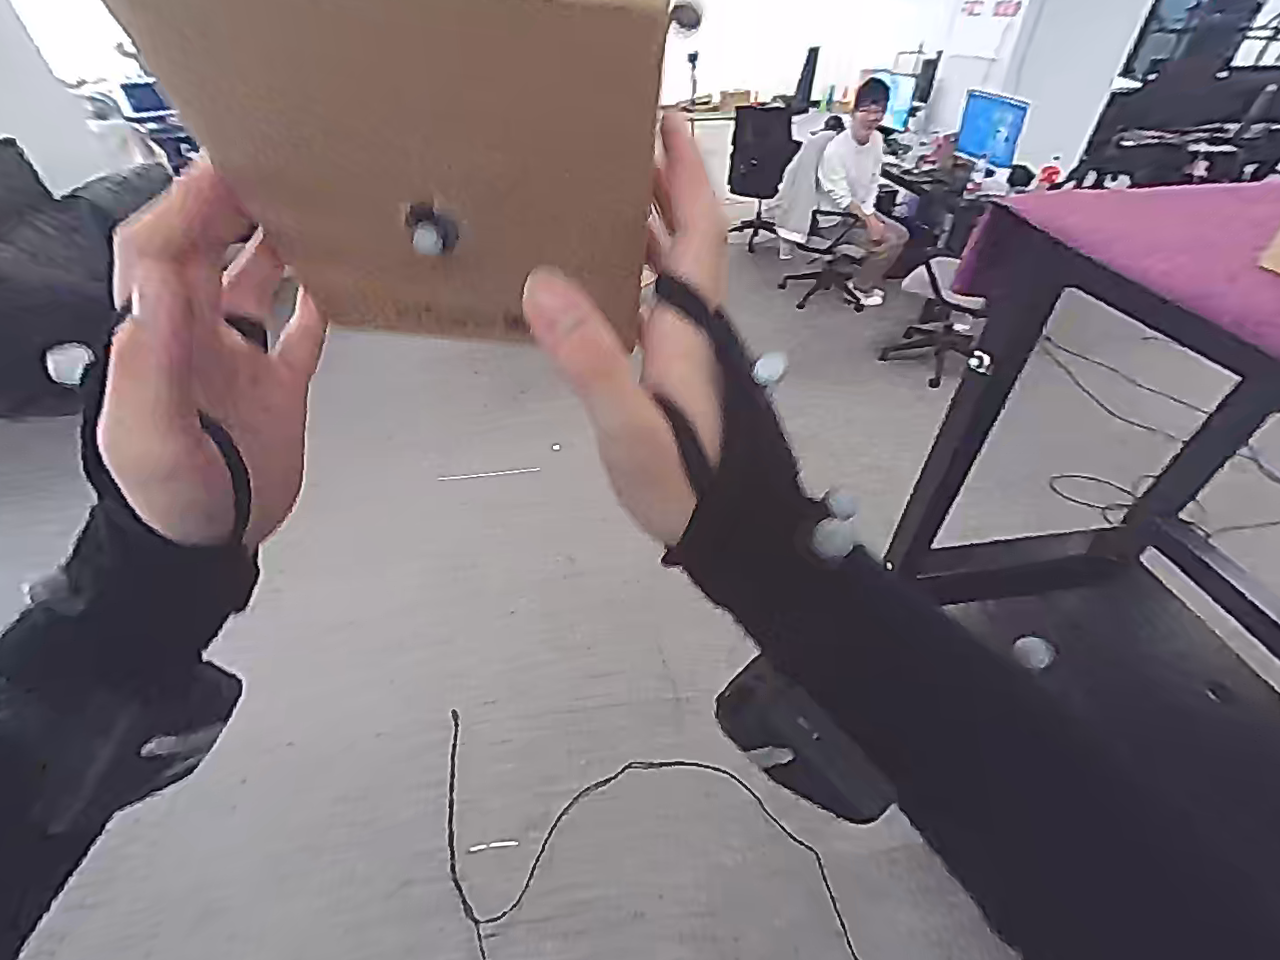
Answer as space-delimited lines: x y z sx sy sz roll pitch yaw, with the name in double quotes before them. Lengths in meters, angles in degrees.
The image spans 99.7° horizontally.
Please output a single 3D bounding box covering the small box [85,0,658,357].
"small box" -0.078 -0.180 0.258 0.168 0.176 0.179 5 67 -3
